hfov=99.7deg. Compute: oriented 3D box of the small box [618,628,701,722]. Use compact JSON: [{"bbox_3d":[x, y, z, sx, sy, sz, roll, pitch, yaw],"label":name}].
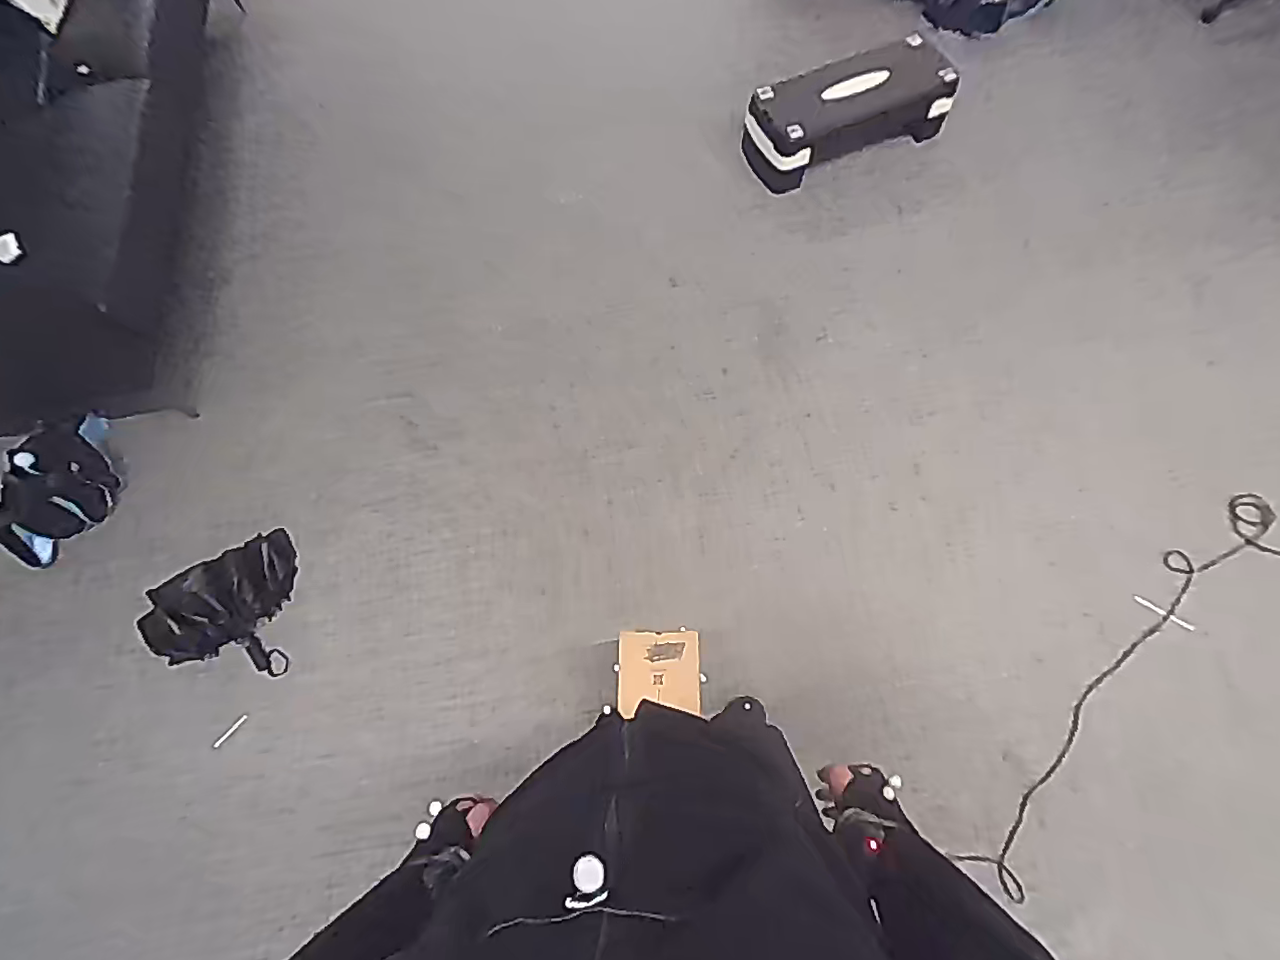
[{"bbox_3d":[0.046,0.416,1.165,0.168,0.176,0.179,0,72,5],"label":"small box"}]
